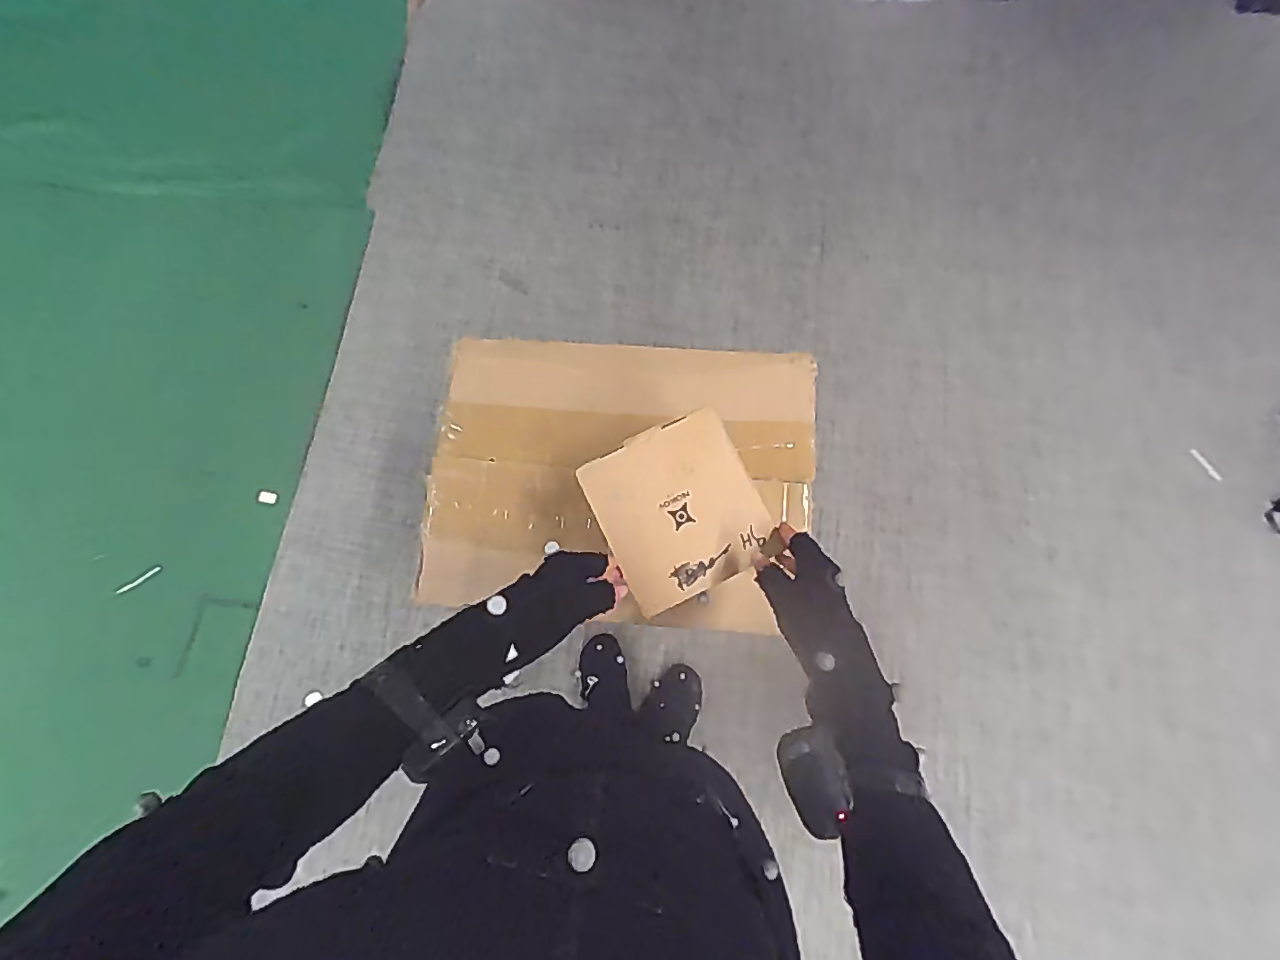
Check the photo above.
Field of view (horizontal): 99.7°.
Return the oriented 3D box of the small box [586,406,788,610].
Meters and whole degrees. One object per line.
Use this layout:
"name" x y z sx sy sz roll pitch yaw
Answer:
"small box" 0.049 0.040 0.651 0.168 0.176 0.179 -24 81 -2
